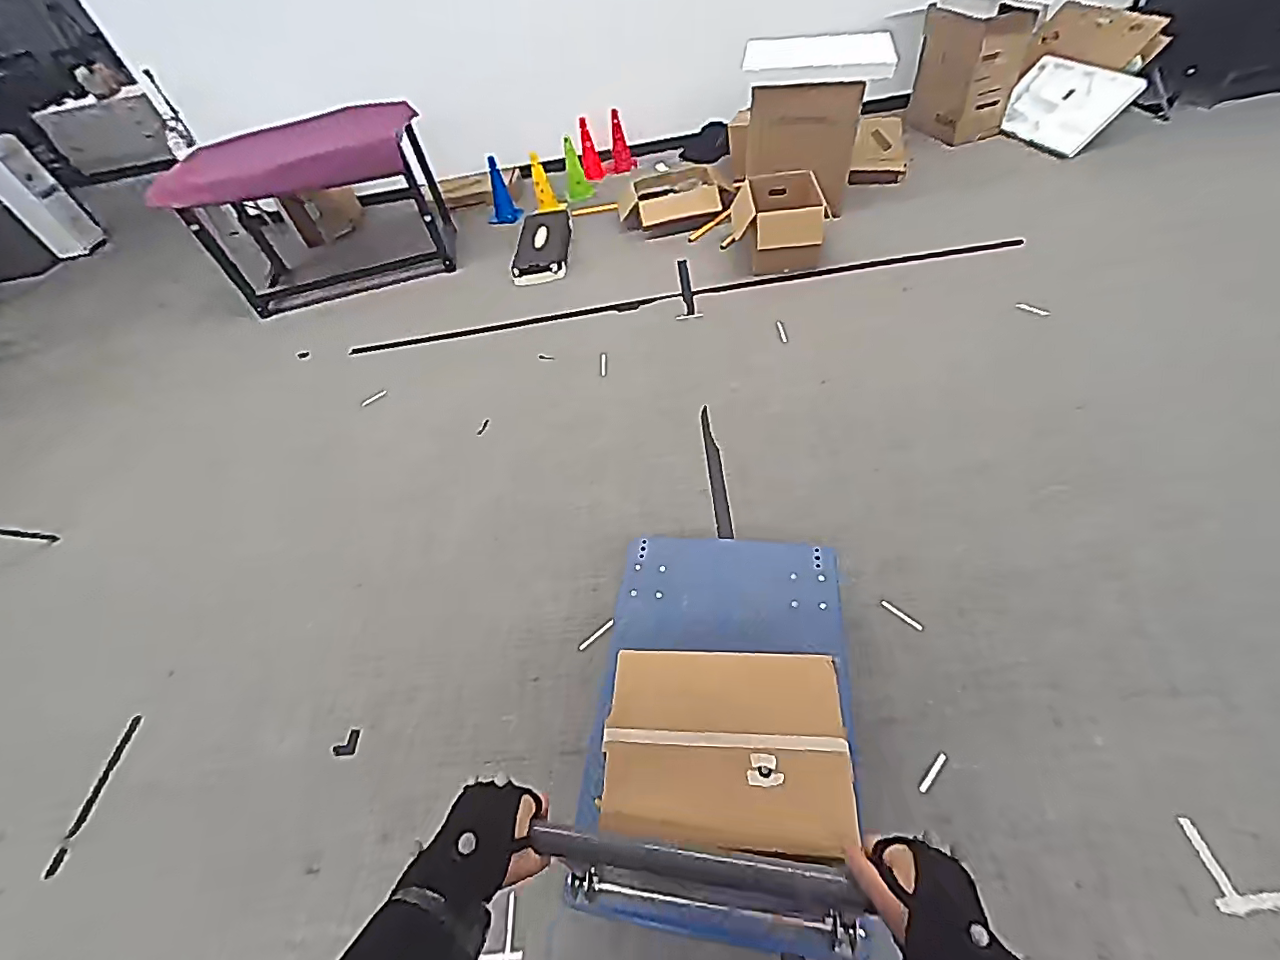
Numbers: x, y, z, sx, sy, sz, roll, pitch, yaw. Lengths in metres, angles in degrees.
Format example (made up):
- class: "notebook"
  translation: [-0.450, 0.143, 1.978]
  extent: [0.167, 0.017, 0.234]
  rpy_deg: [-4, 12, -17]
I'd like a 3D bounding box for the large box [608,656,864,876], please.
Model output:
- class: "large box"
  translation: [0.167, 0.552, 1.045]
  extent: [0.408, 0.320, 0.320]
  rpy_deg: [-1, 50, 8]
